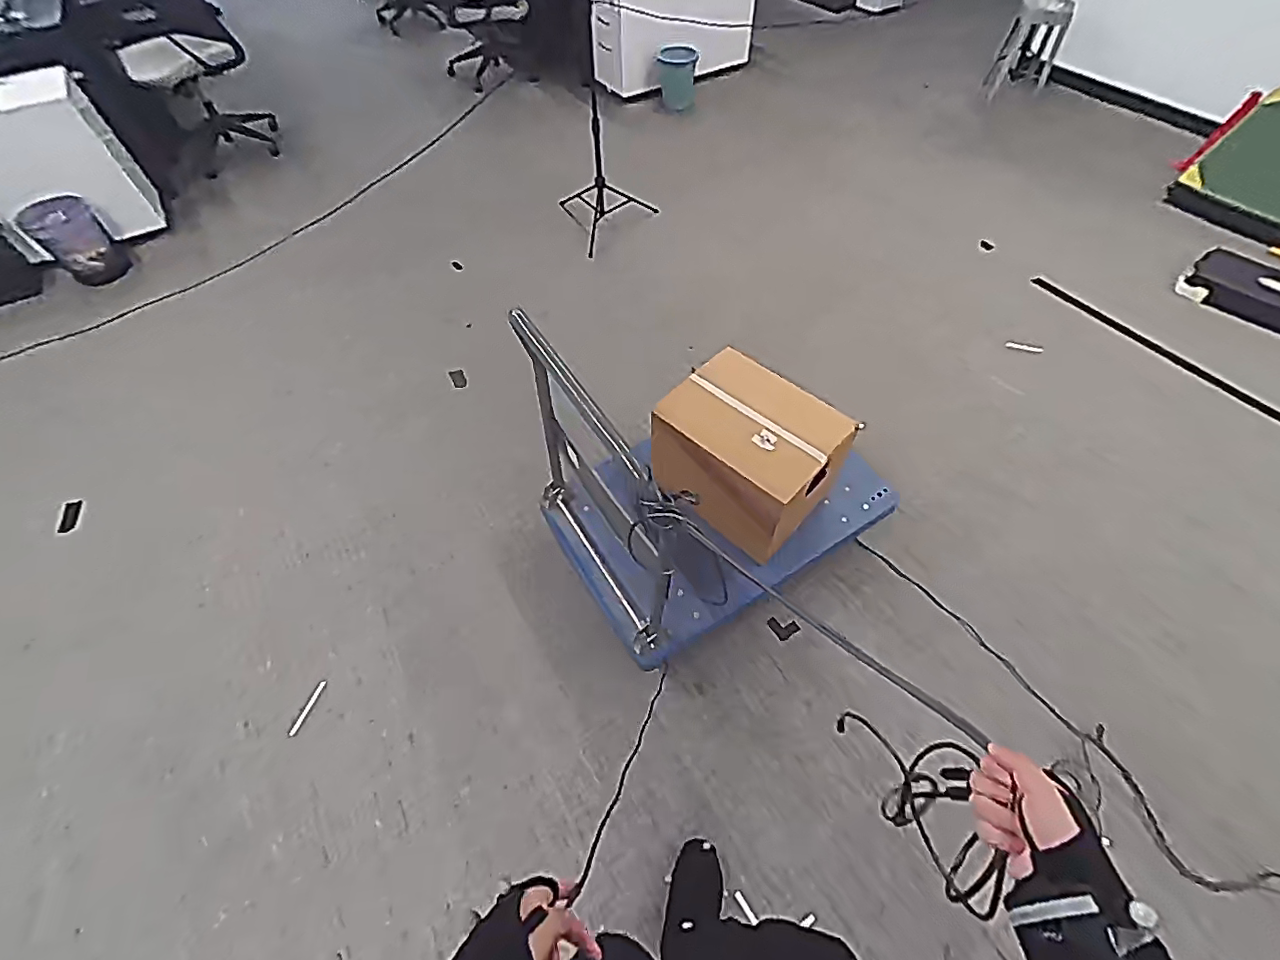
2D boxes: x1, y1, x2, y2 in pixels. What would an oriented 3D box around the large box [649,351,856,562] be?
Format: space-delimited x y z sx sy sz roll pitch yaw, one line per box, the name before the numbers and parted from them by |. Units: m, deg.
large box | 0.269 -0.064 1.427 0.408 0.320 0.320 38 65 23
